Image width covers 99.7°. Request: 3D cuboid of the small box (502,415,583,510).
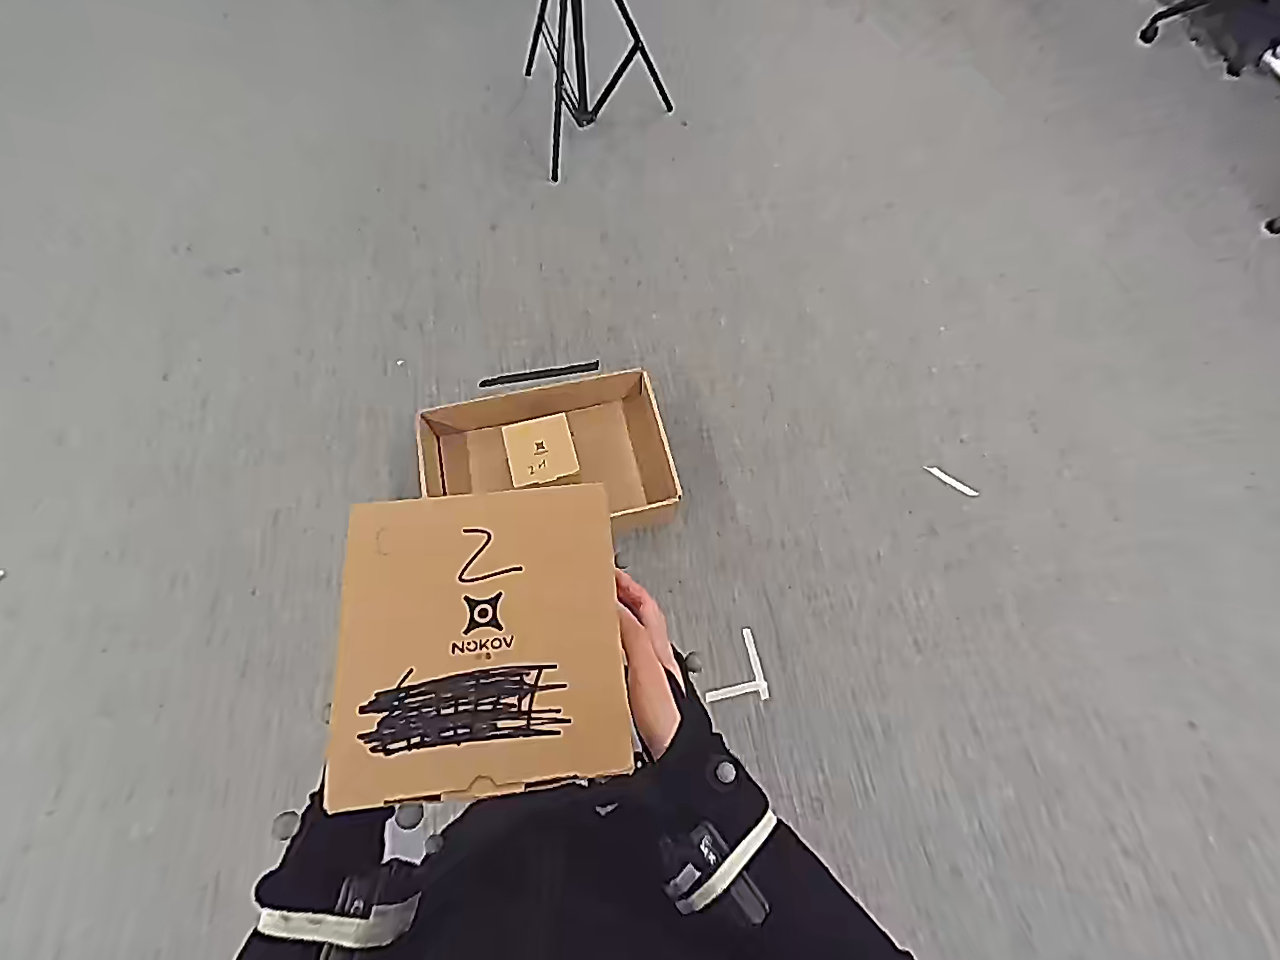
[{"bbox_3d":[-0.251,-0.042,1.411,0.168,0.176,0.179,-14,69,-7],"label":"small box"}]
